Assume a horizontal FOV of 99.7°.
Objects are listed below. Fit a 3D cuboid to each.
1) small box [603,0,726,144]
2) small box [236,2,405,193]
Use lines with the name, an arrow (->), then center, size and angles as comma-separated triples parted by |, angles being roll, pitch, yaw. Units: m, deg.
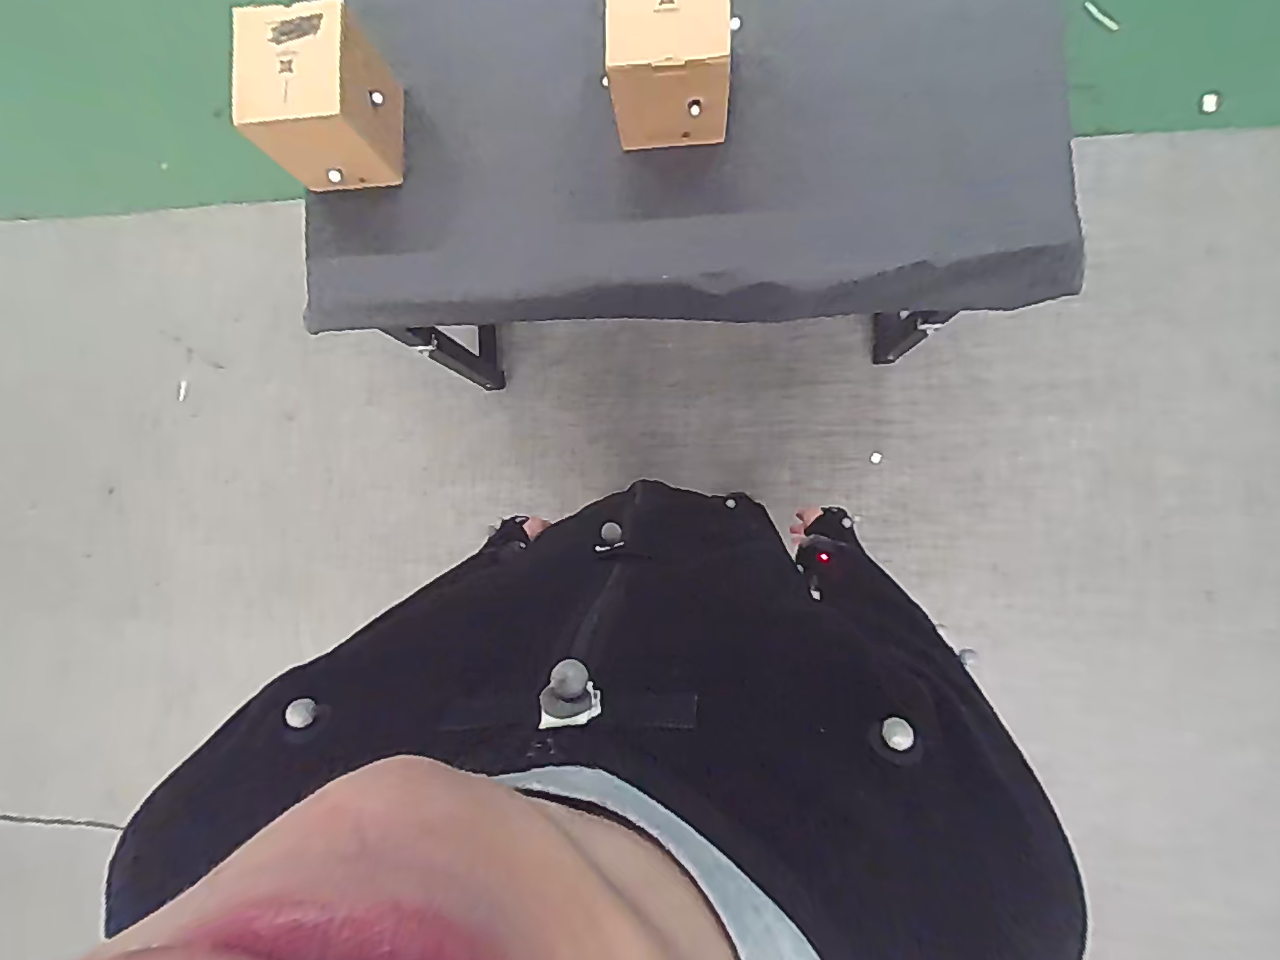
small box -> 0.039, -0.627, 0.798 | 0.168, 0.176, 0.179 | -2, 86, 5
small box -> -0.488, -0.585, 0.847 | 0.168, 0.176, 0.179 | -2, 88, 6
